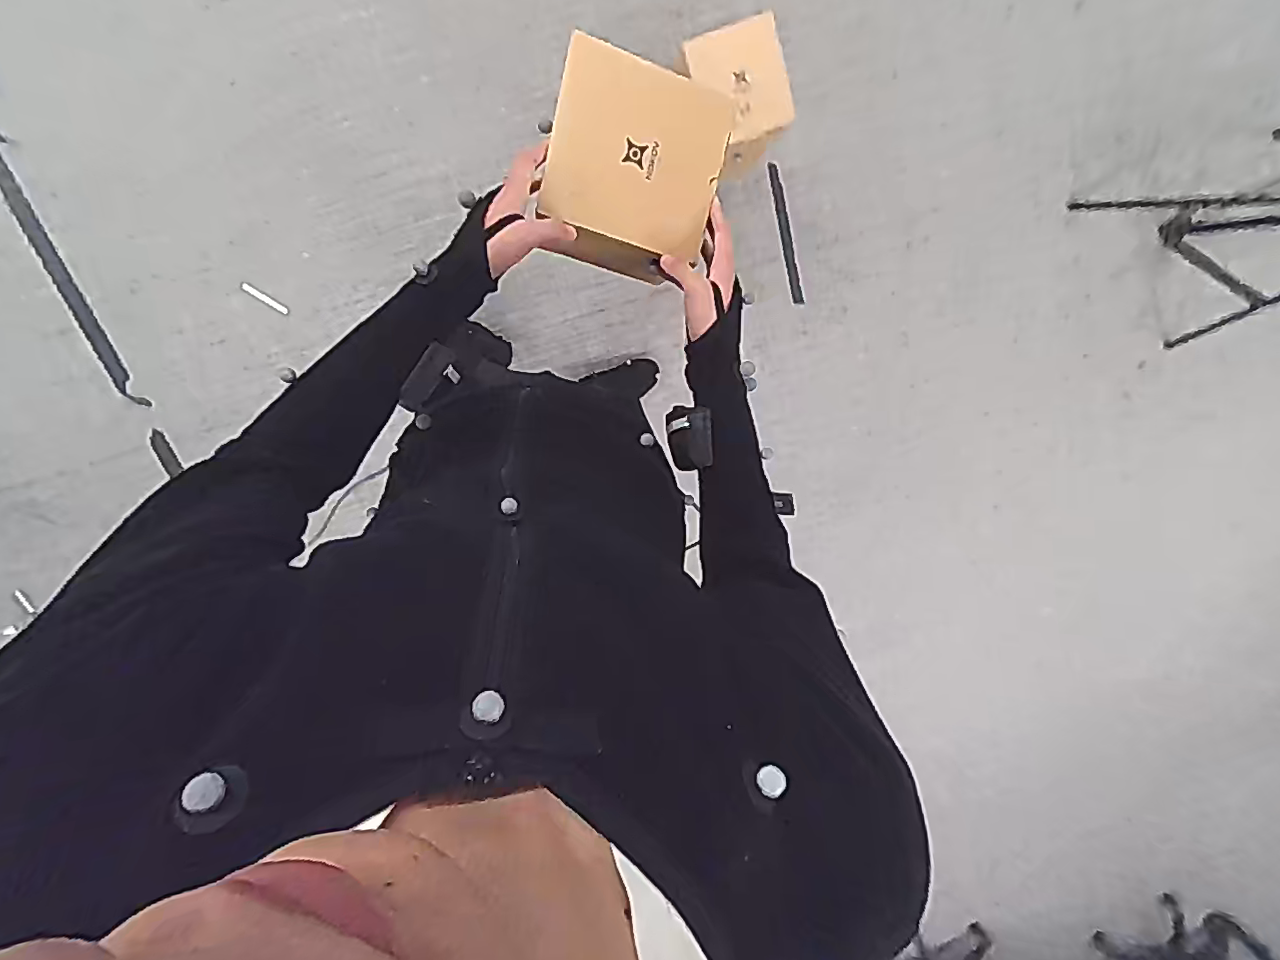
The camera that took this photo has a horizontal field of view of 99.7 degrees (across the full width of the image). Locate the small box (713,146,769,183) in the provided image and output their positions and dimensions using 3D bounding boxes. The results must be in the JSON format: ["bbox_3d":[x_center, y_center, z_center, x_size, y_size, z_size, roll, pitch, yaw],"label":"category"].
[{"bbox_3d":[0.161,-0.751,1.169,0.179,0.176,0.168,-12,108,-1],"label":"small box"}]

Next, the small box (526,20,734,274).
[{"bbox_3d":[-0.025,-0.339,0.596,0.179,0.176,0.168,10,100,-16],"label":"small box"}]

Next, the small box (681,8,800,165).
[{"bbox_3d":[0.173,-0.714,1.009,0.168,0.176,0.179,-20,109,0],"label":"small box"}]
